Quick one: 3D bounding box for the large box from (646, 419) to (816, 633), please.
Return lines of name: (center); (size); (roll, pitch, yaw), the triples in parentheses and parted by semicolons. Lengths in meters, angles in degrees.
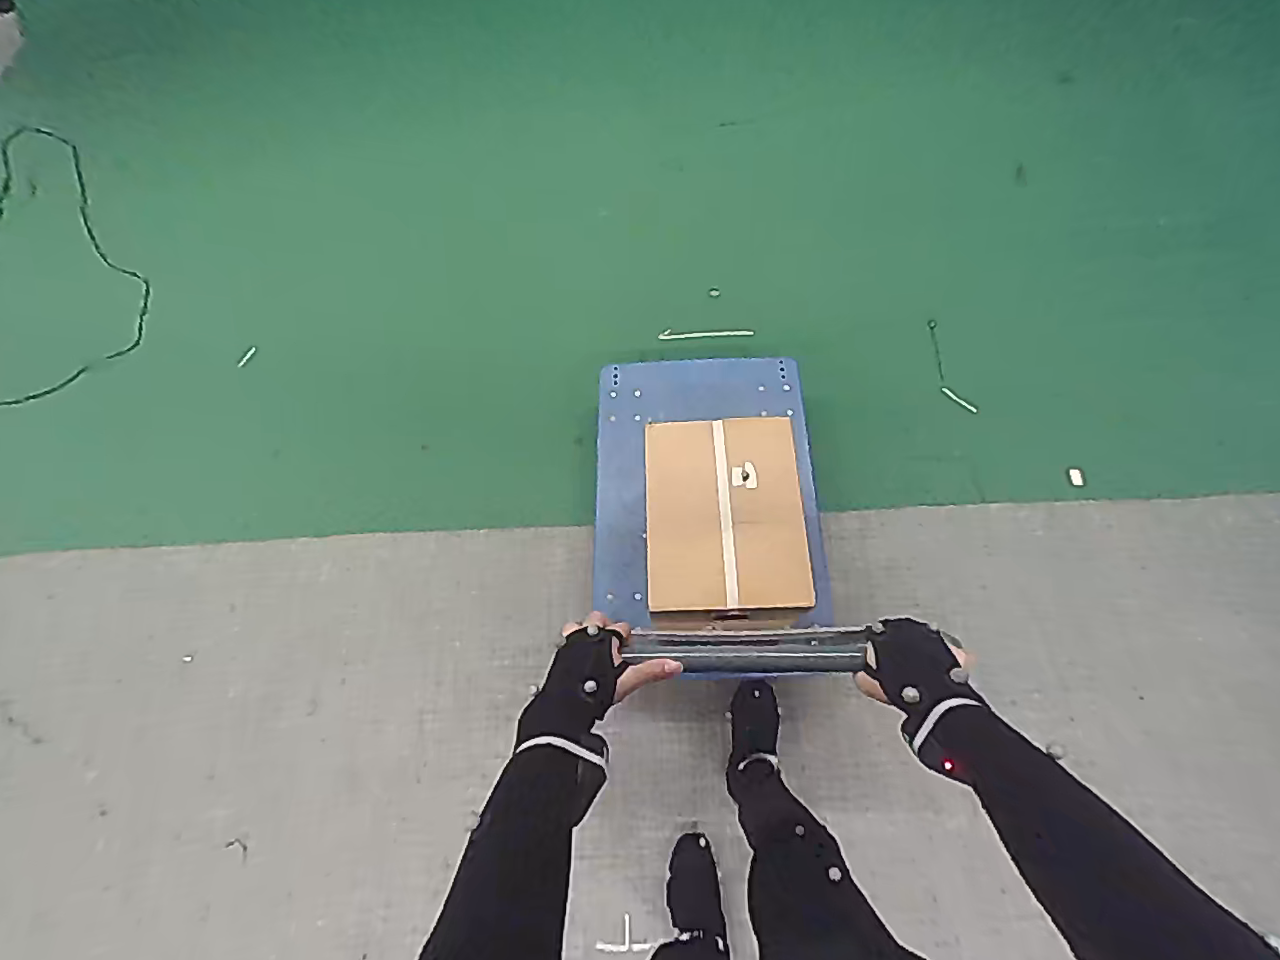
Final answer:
large box: (0.183, 0.117, 1.225); (0.320, 0.320, 0.408); (-2, 66, 3)
